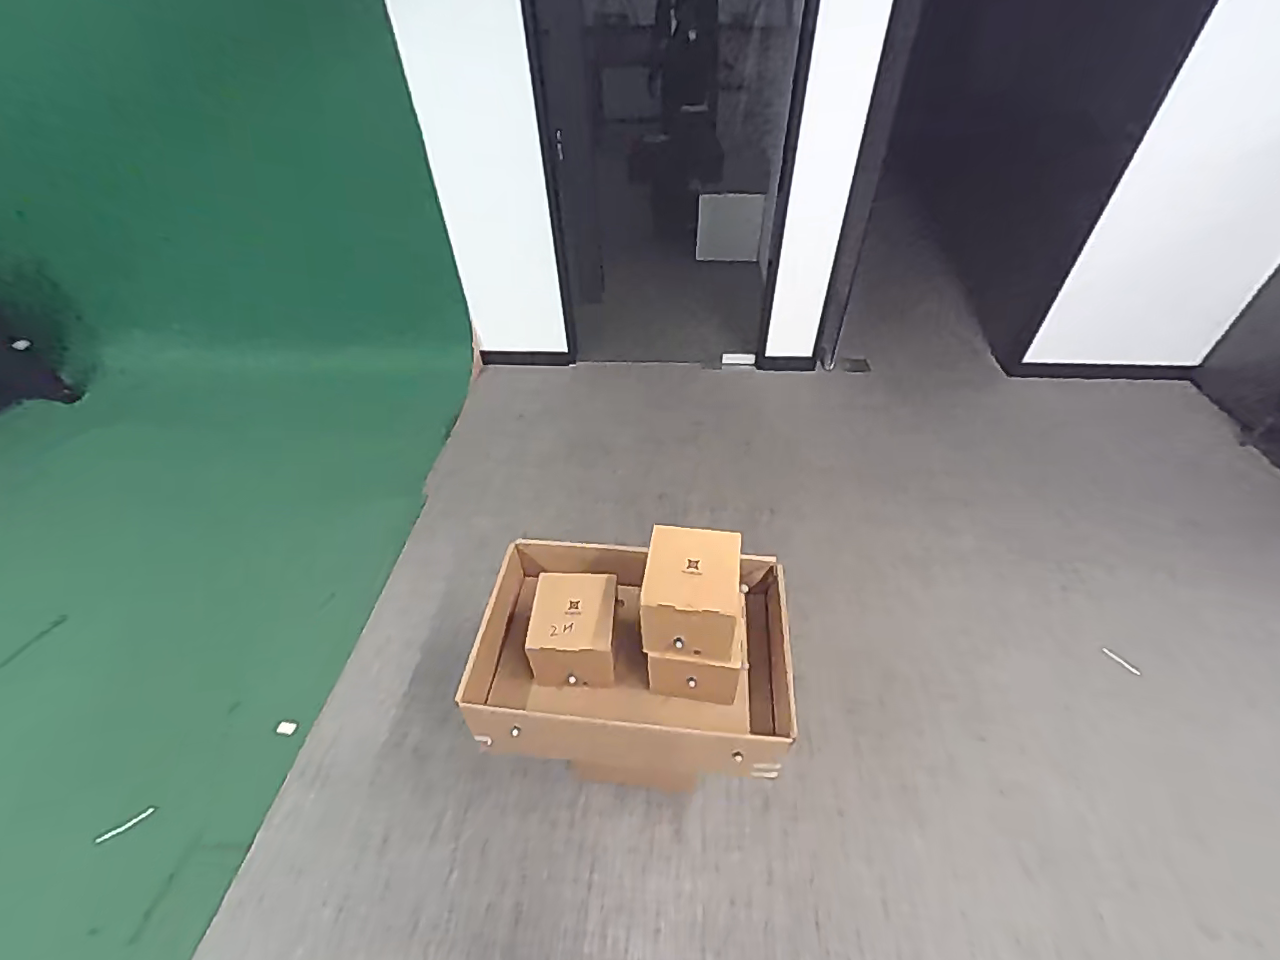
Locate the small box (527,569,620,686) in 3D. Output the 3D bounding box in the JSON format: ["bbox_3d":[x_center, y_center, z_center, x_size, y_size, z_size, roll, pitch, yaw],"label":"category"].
[{"bbox_3d":[-0.130,0.309,1.137,0.168,0.176,0.179,1,45,3],"label":"small box"}]

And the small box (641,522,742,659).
[{"bbox_3d":[0.097,0.205,1.007,0.168,0.176,0.179,5,45,8],"label":"small box"}]
